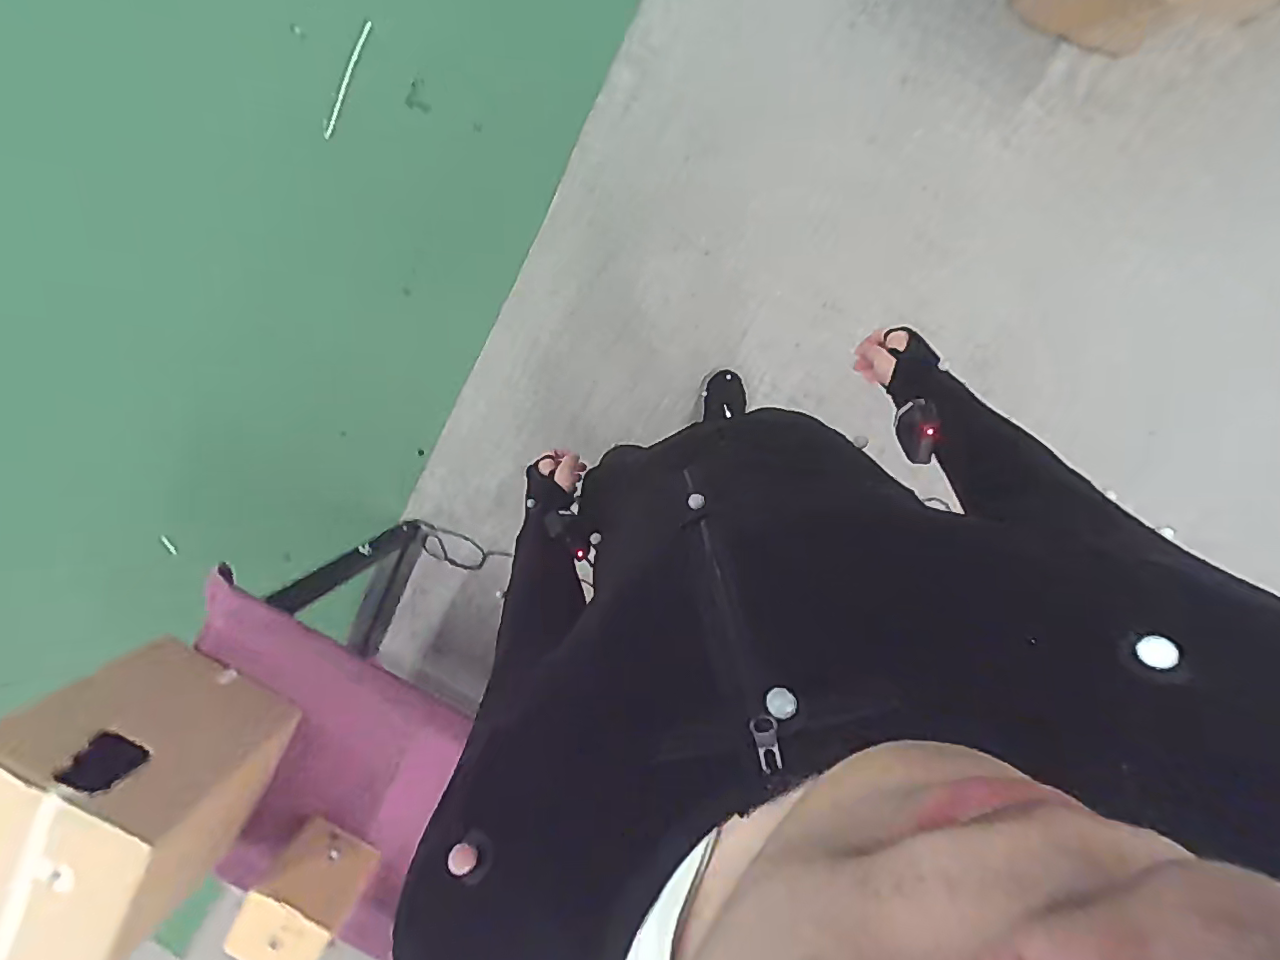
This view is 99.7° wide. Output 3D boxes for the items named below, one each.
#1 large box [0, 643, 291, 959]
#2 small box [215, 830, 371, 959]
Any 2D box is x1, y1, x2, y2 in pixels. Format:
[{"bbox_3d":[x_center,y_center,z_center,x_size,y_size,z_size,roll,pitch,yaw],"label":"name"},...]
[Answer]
[{"bbox_3d":[-0.910,0.580,0.945,0.320,0.320,0.408,30,102,-3],"label":"large box"},{"bbox_3d":[-0.658,0.835,1.042,0.168,0.176,0.179,30,102,-1],"label":"small box"}]
